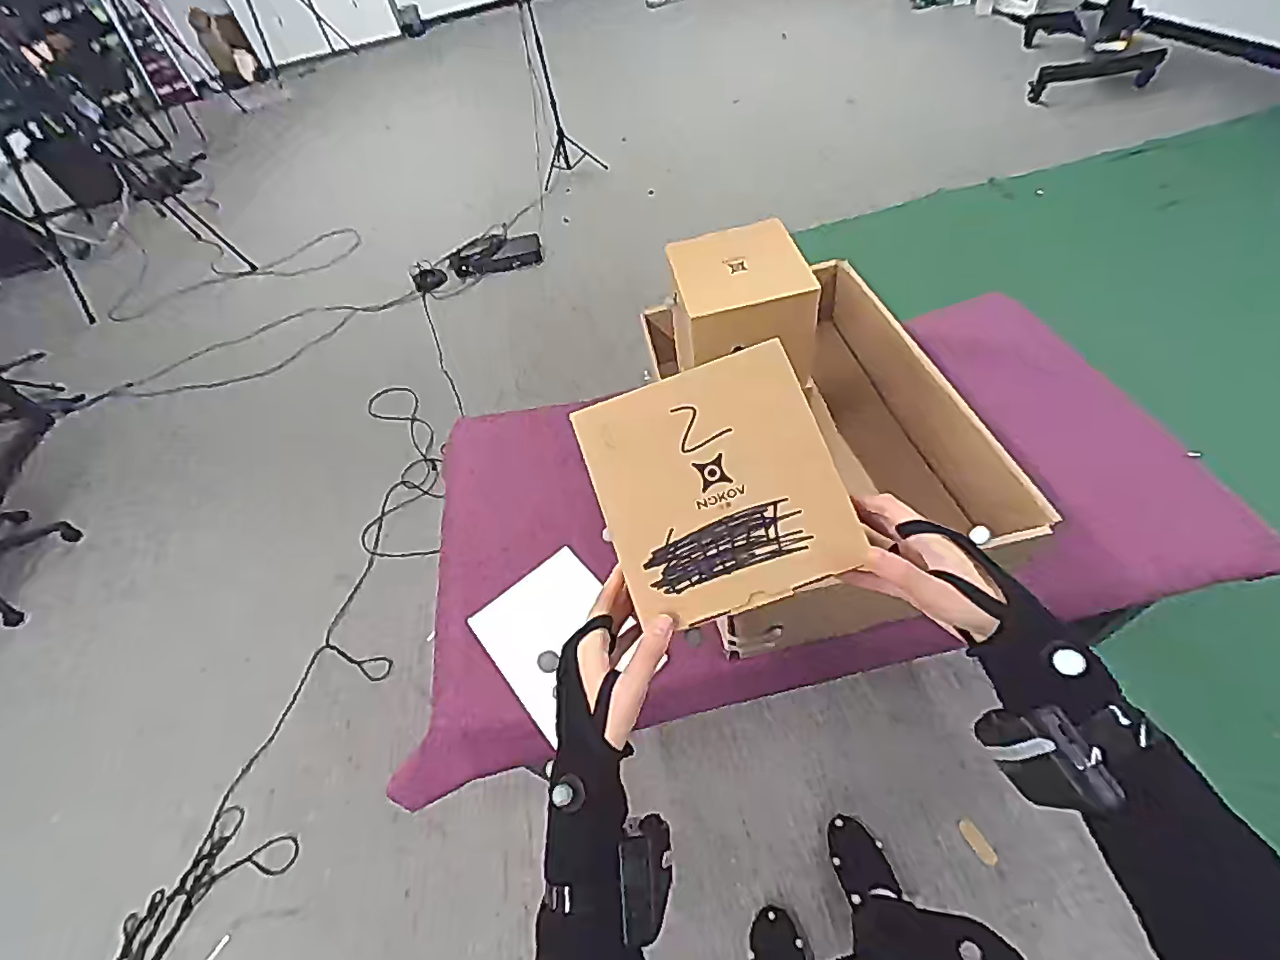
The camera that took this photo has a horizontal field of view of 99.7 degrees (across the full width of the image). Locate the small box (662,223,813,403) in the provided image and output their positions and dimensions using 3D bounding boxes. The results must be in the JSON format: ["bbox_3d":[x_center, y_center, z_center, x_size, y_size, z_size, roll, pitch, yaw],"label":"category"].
[{"bbox_3d":[0.136,-0.229,0.773,0.168,0.176,0.179,-13,51,2],"label":"small box"}]
